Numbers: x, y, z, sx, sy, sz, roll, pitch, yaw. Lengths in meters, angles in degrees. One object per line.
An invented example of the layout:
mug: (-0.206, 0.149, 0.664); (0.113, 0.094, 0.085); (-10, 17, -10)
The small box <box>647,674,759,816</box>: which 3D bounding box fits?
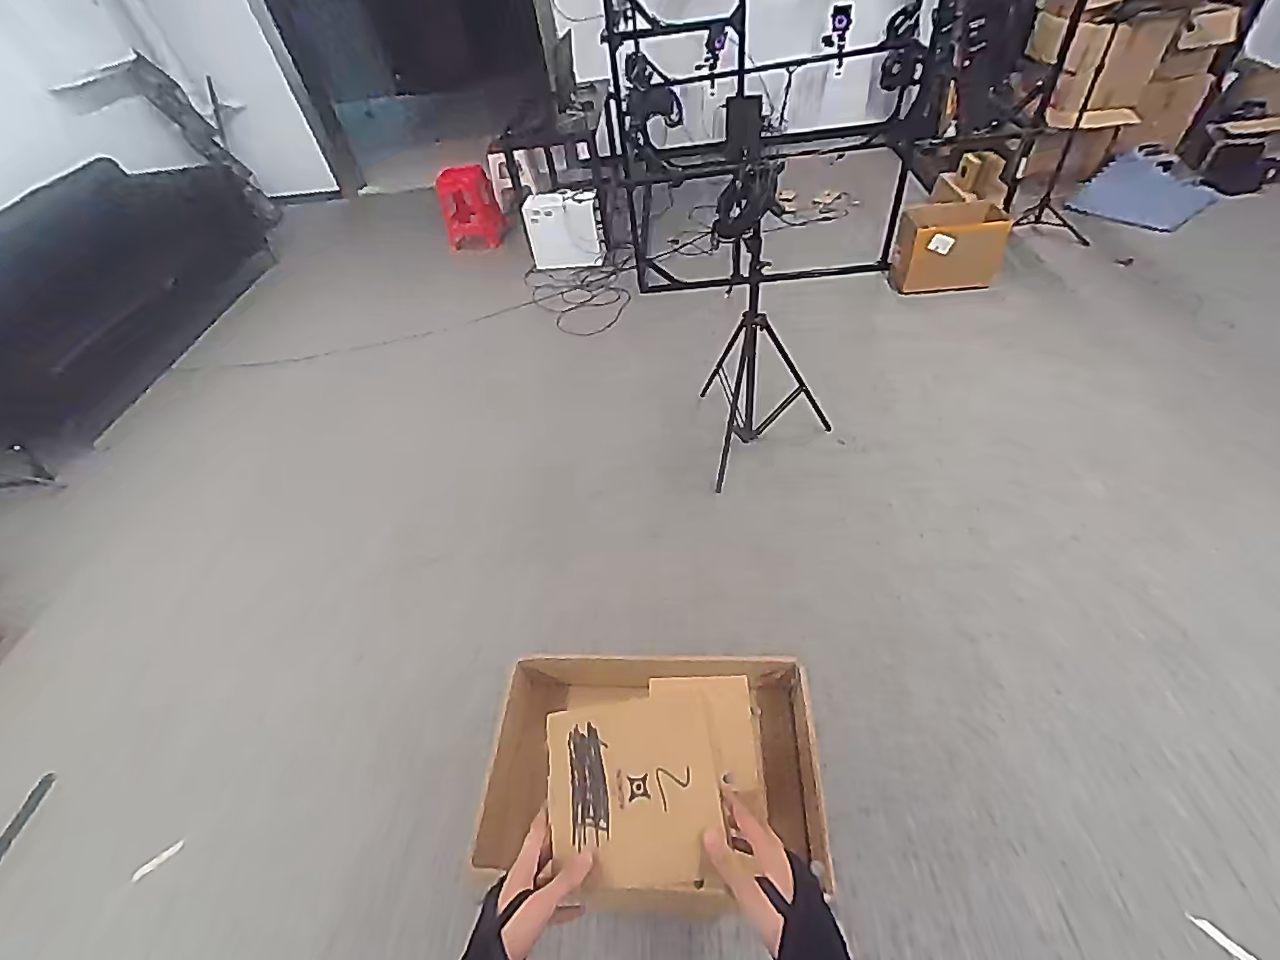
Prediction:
small box: (0.105, 0.445, 0.909); (0.168, 0.176, 0.179); (-4, 47, 7)
